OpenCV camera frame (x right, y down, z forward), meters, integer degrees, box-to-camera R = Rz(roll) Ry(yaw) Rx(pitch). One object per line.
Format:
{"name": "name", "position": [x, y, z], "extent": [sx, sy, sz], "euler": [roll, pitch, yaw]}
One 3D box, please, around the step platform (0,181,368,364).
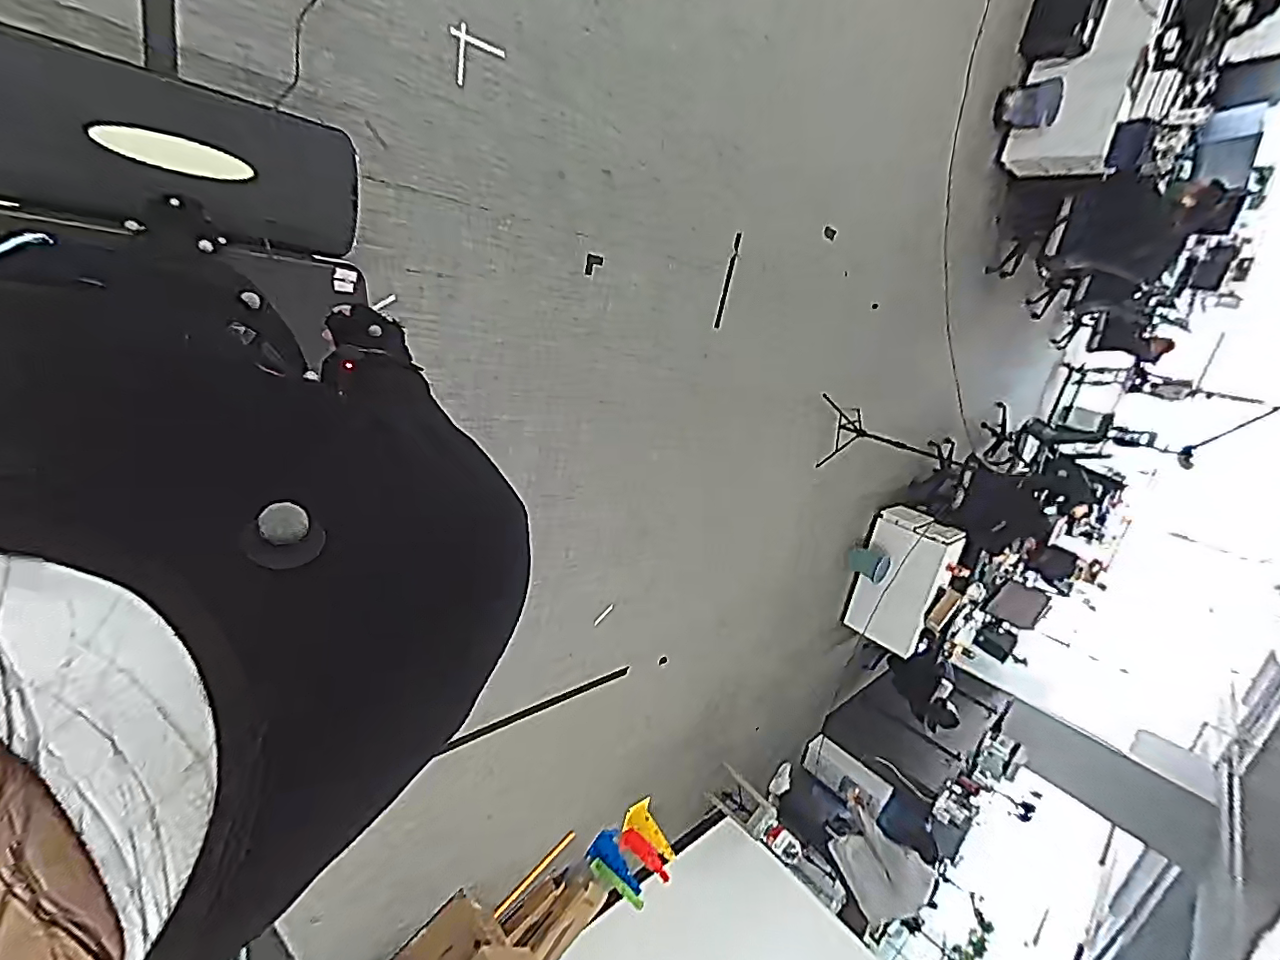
{"name": "step platform", "position": [-0.961, -0.413, 1.153], "extent": [0.684, 0.204, 0.286], "euler": [-7, 114, -41]}
